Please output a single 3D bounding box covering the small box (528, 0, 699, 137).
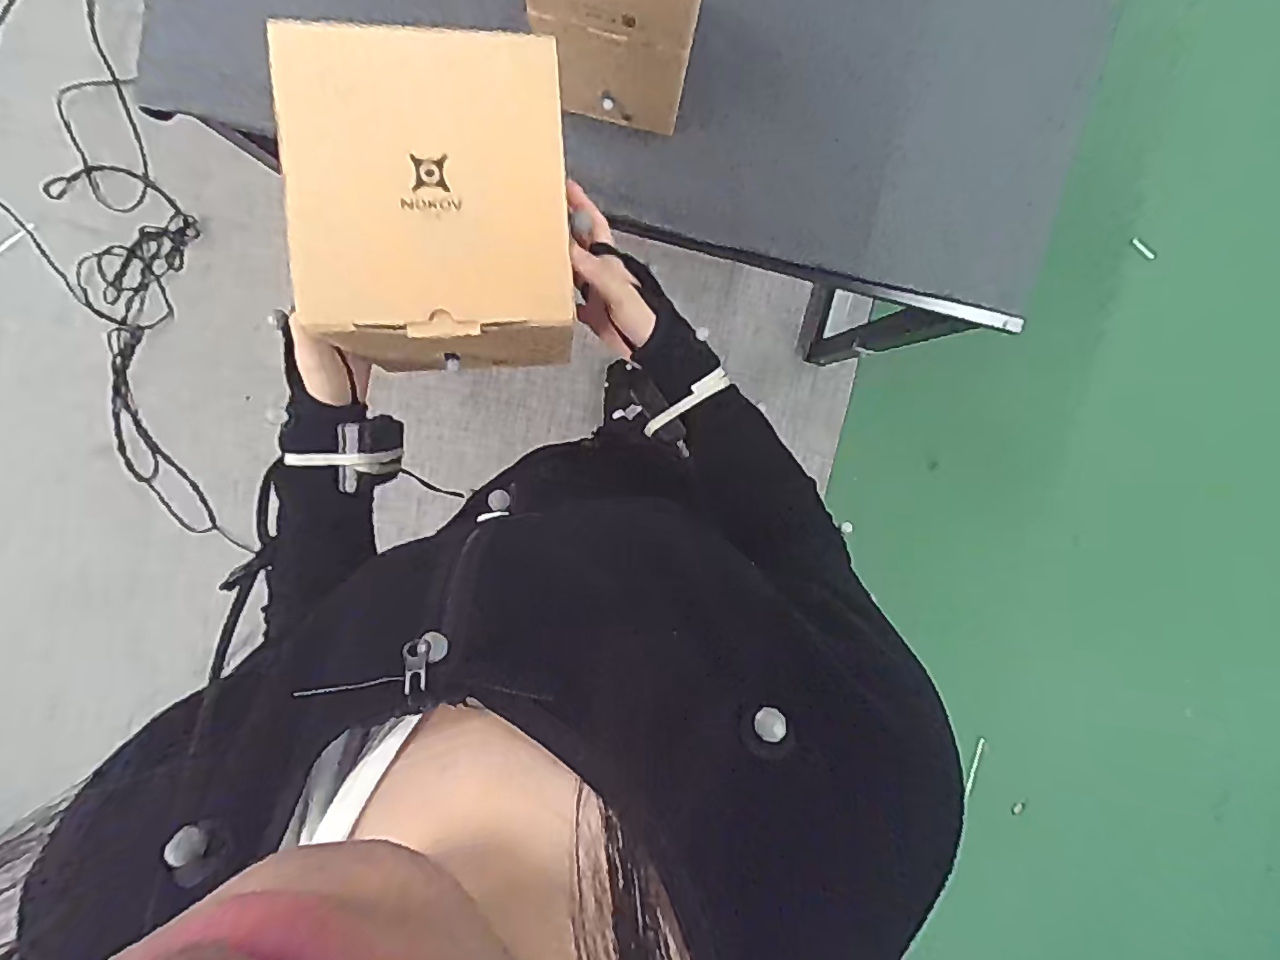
[{"bbox_3d":[-0.019,-0.542,0.619,0.168,0.176,0.179,12,96,-3],"label":"small box"}]

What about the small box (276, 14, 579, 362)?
[{"bbox_3d":[-0.138,-0.190,0.407,0.168,0.176,0.179,-4,96,-9],"label":"small box"}]
